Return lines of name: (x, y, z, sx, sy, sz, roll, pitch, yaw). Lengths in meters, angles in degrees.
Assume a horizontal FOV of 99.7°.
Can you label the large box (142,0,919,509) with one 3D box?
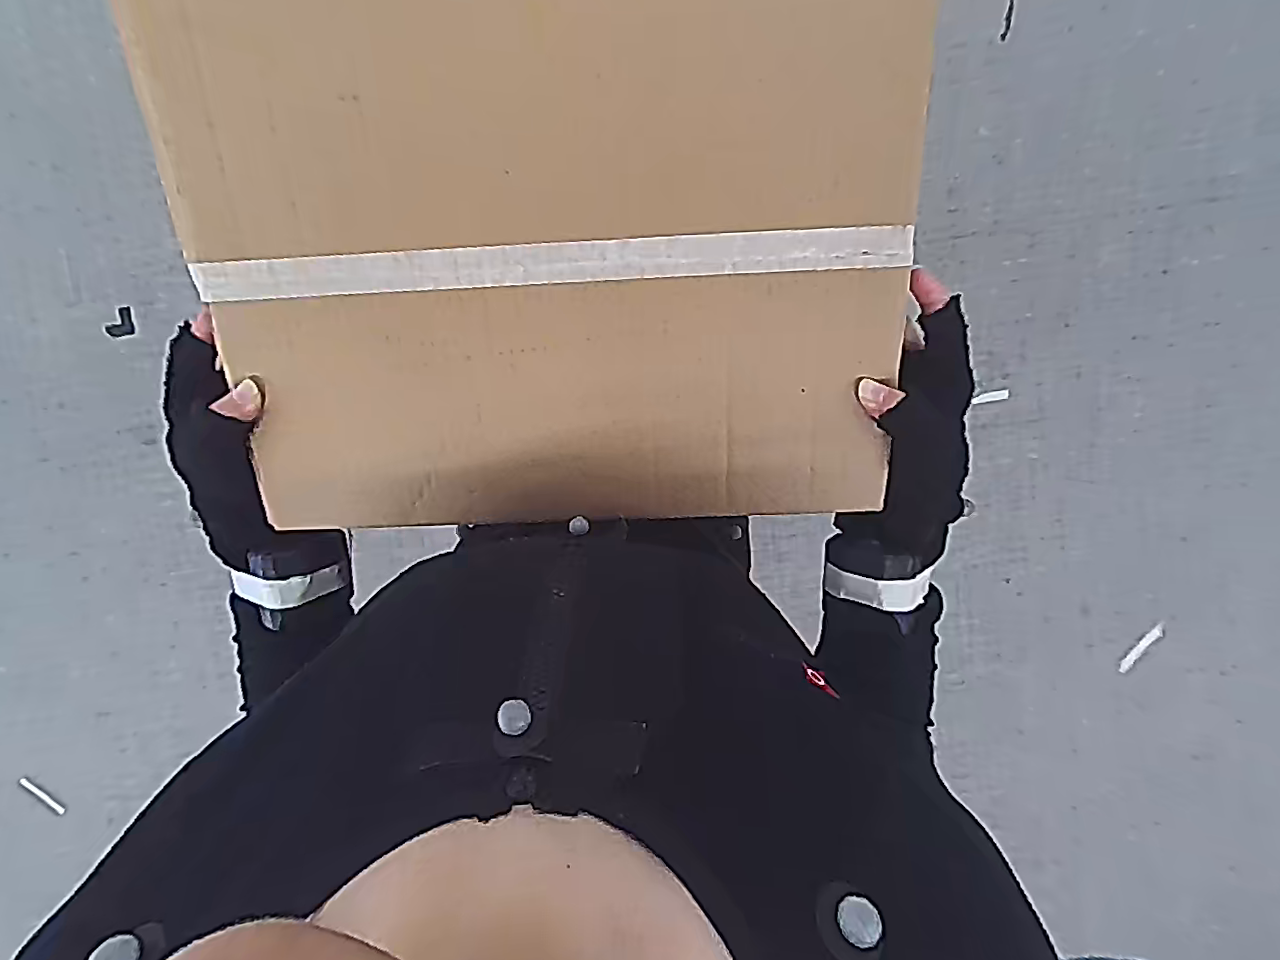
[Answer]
large box: (-0.051, -0.182, 0.453, 0.408, 0.320, 0.320, -2, 110, 2)
